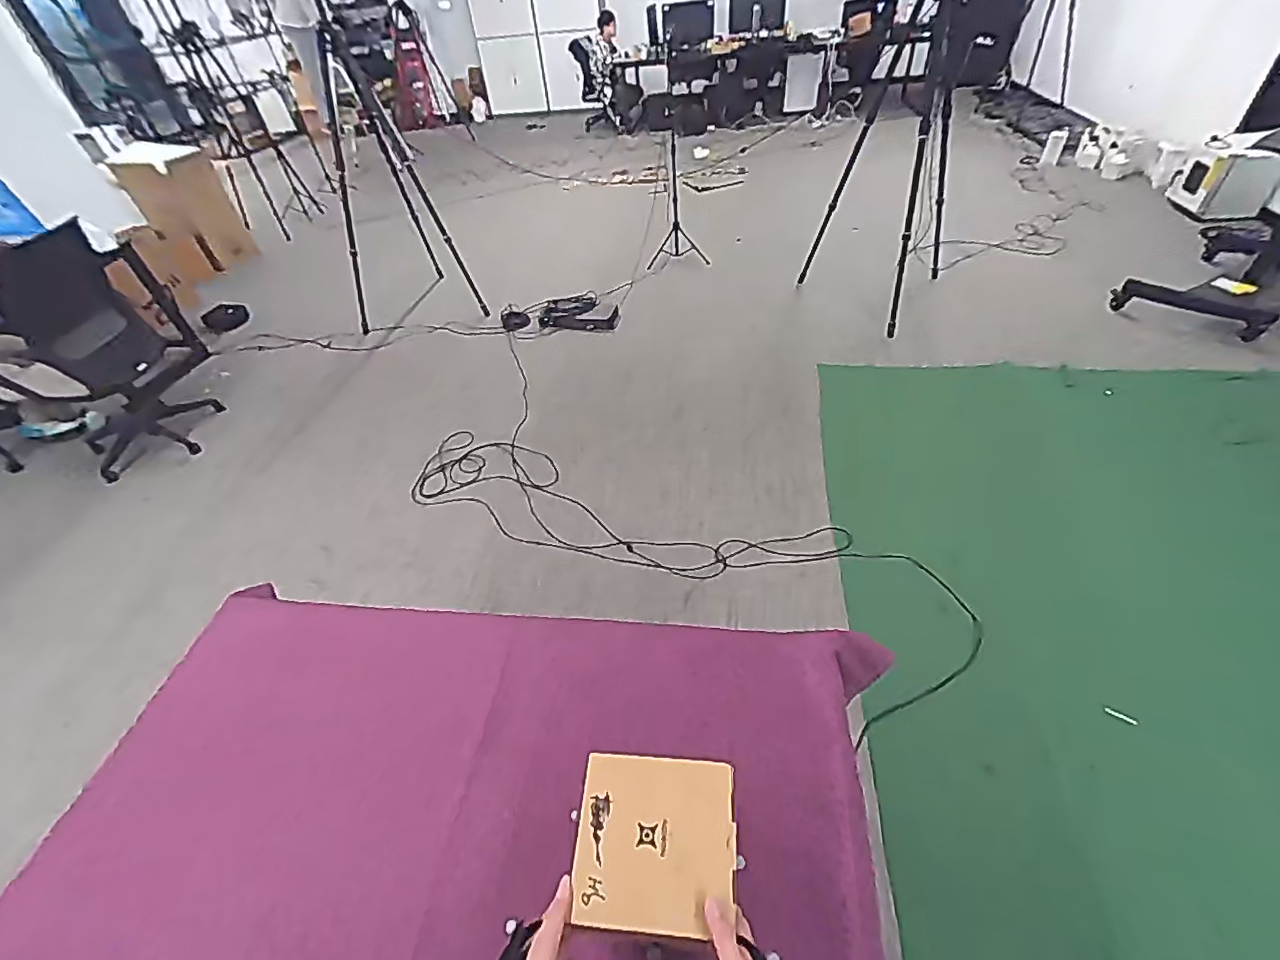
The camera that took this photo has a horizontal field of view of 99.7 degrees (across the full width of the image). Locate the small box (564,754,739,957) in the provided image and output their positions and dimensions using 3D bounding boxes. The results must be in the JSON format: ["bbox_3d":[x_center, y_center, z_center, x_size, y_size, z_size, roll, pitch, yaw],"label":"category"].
[{"bbox_3d":[0.021,0.448,0.644,0.179,0.176,0.168,2,46,6],"label":"small box"}]
